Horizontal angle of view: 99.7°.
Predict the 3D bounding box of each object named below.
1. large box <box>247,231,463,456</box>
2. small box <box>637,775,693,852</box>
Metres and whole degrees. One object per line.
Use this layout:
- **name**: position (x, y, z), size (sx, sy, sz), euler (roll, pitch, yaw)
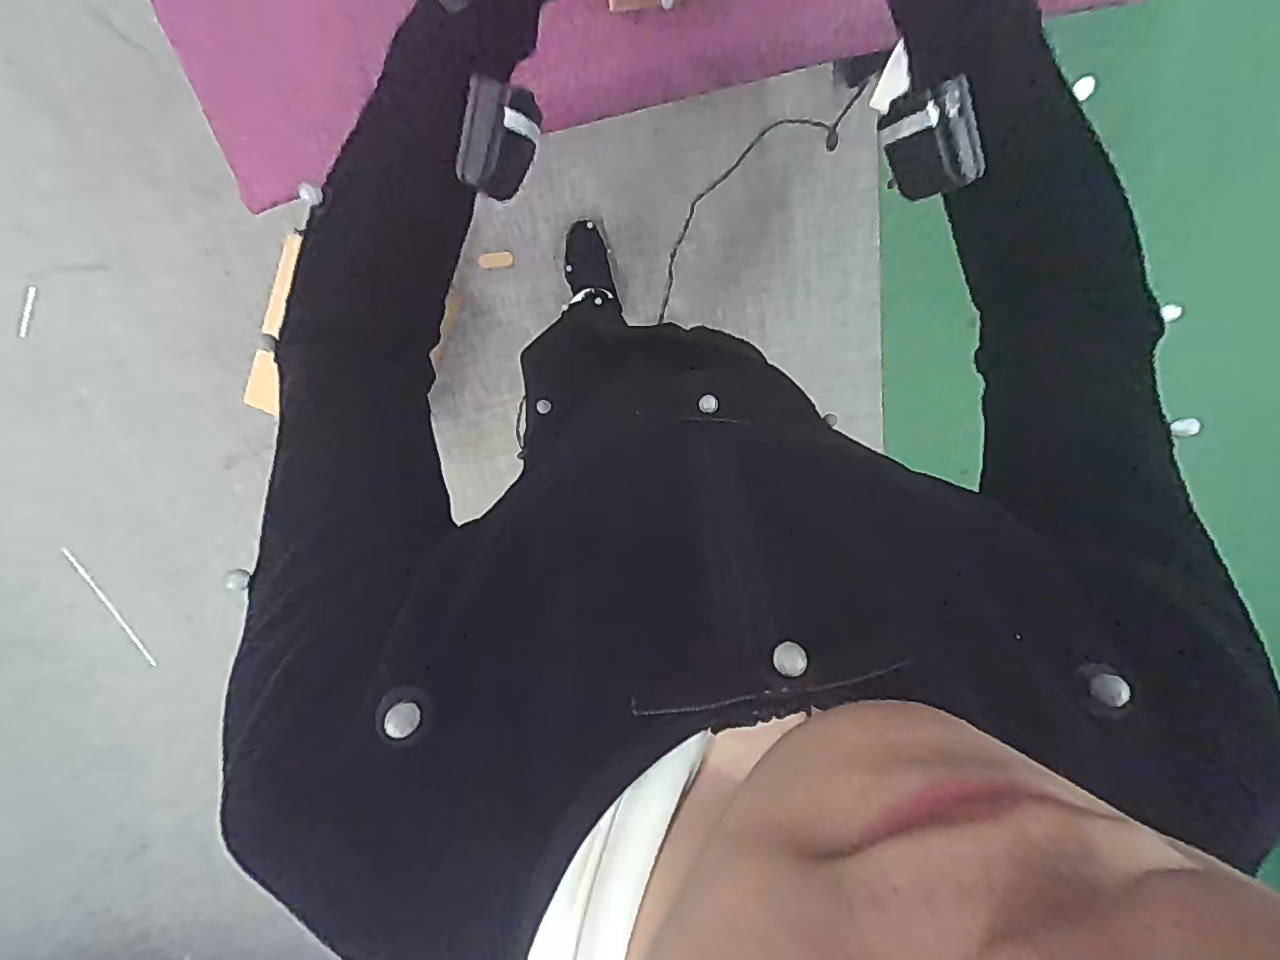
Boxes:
- **large box**: position (-0.676, -0.333, 1.326), size (0.320, 0.320, 0.408), euler (24, 107, -15)
- **small box**: position (0.090, 1.283, 2.088), size (0.179, 0.176, 0.168), euler (-17, 112, 1)
